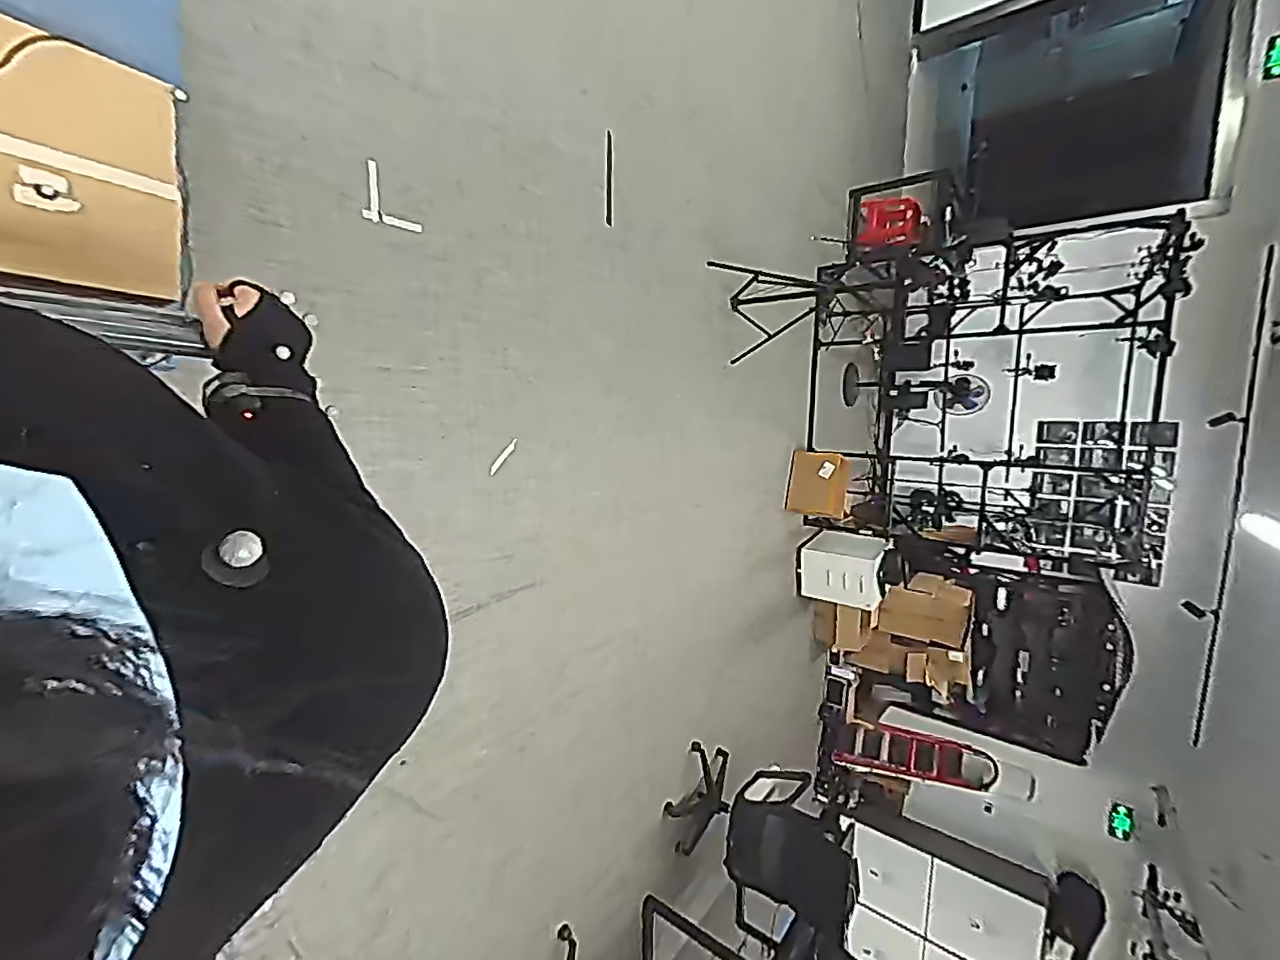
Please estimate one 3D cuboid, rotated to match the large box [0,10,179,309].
[{"bbox_3d":[-0.937,-0.439,0.738,0.408,0.320,0.320,-4,100,-54],"label":"large box"}]
